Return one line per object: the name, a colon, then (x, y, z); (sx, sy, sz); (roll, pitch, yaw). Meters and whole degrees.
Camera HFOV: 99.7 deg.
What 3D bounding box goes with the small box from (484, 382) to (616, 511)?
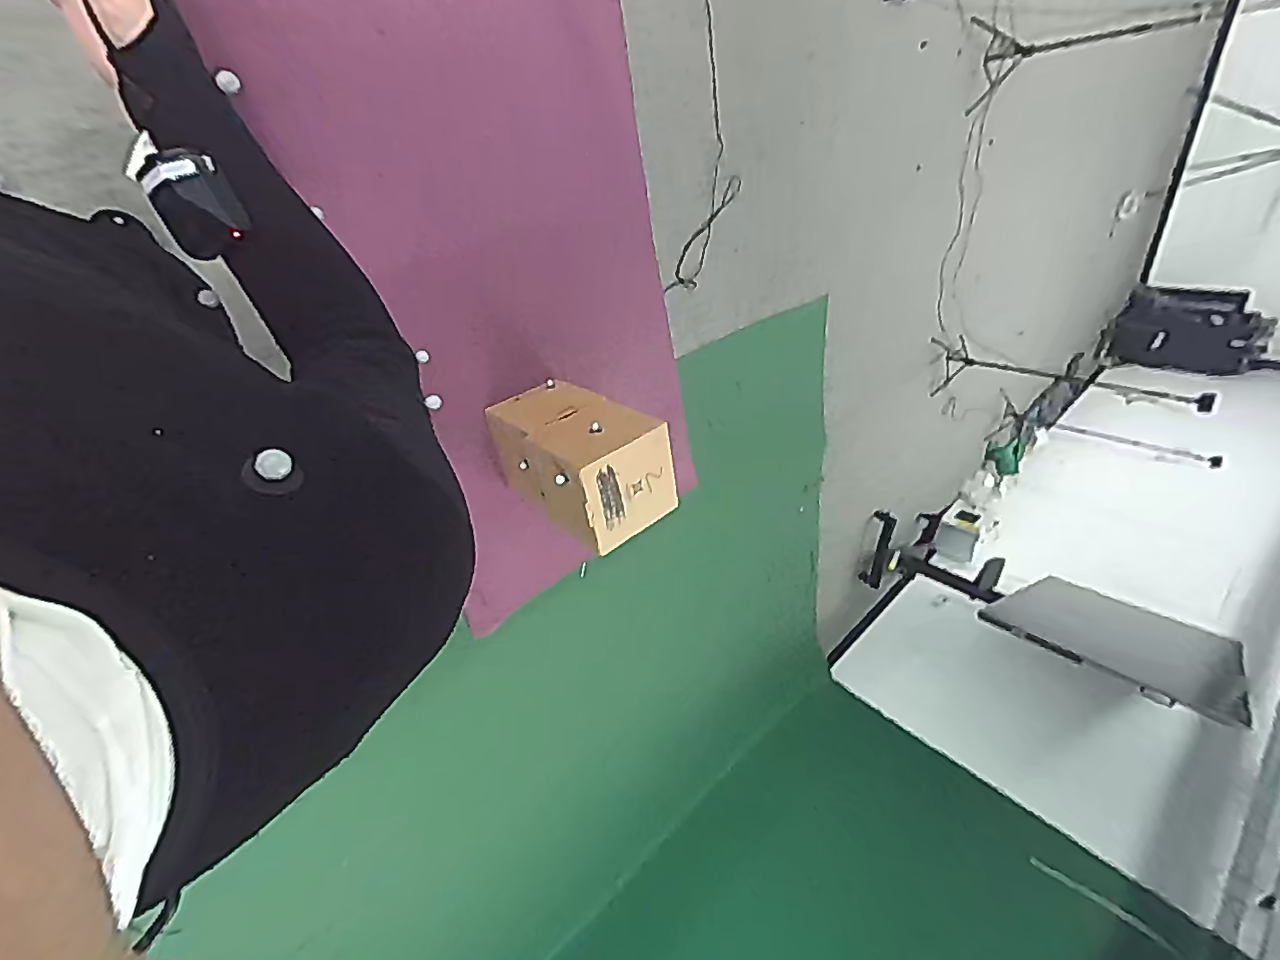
small box: (-0.172, -0.074, 1.028); (0.168, 0.176, 0.179); (-30, 128, -29)
